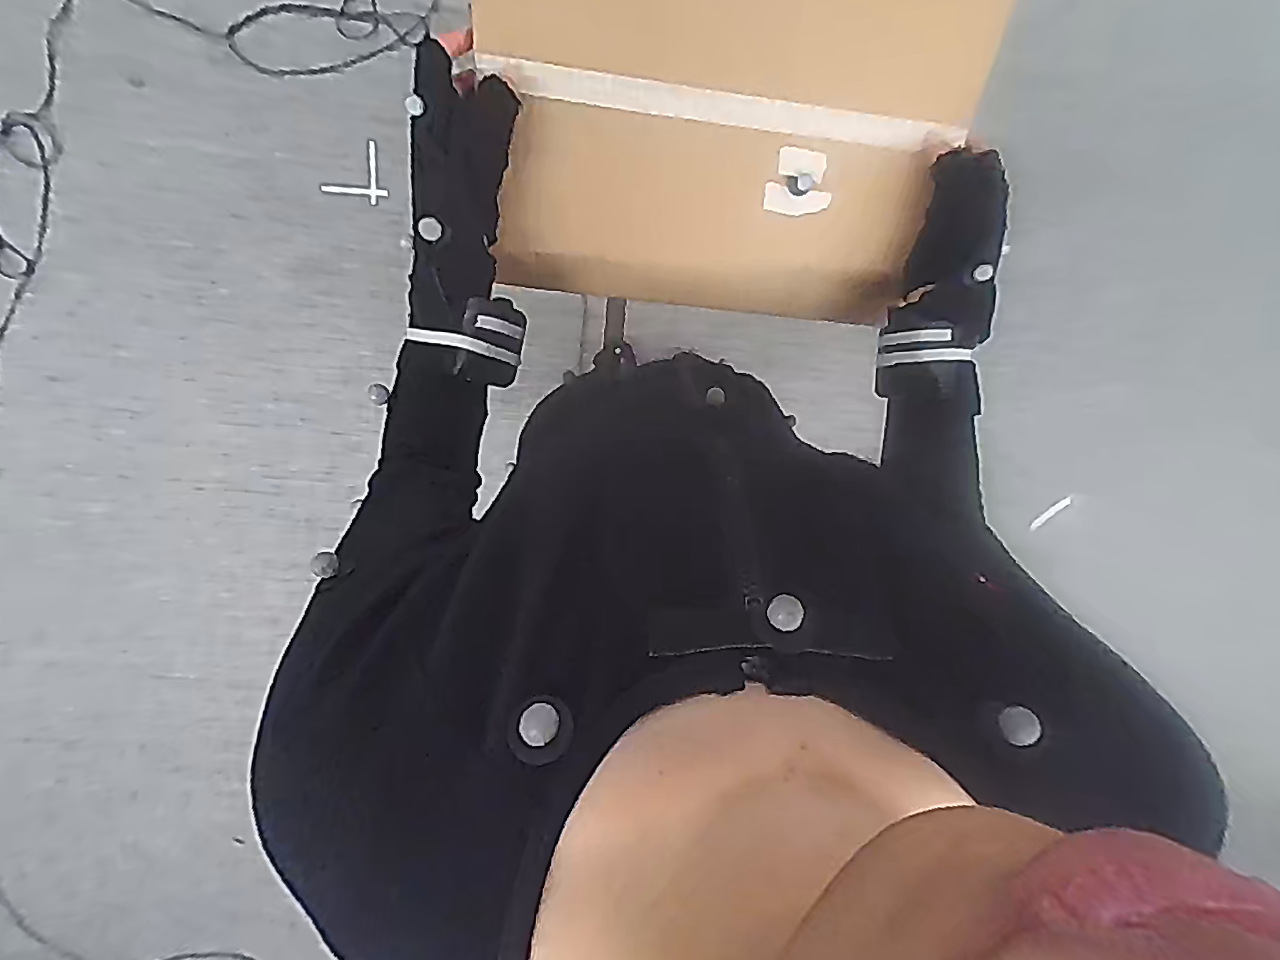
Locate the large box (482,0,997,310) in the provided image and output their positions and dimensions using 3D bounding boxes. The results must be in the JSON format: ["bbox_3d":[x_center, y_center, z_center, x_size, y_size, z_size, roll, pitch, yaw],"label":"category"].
[{"bbox_3d":[0.061,-0.382,0.574,0.408,0.320,0.320,3,120,-7],"label":"large box"}]
